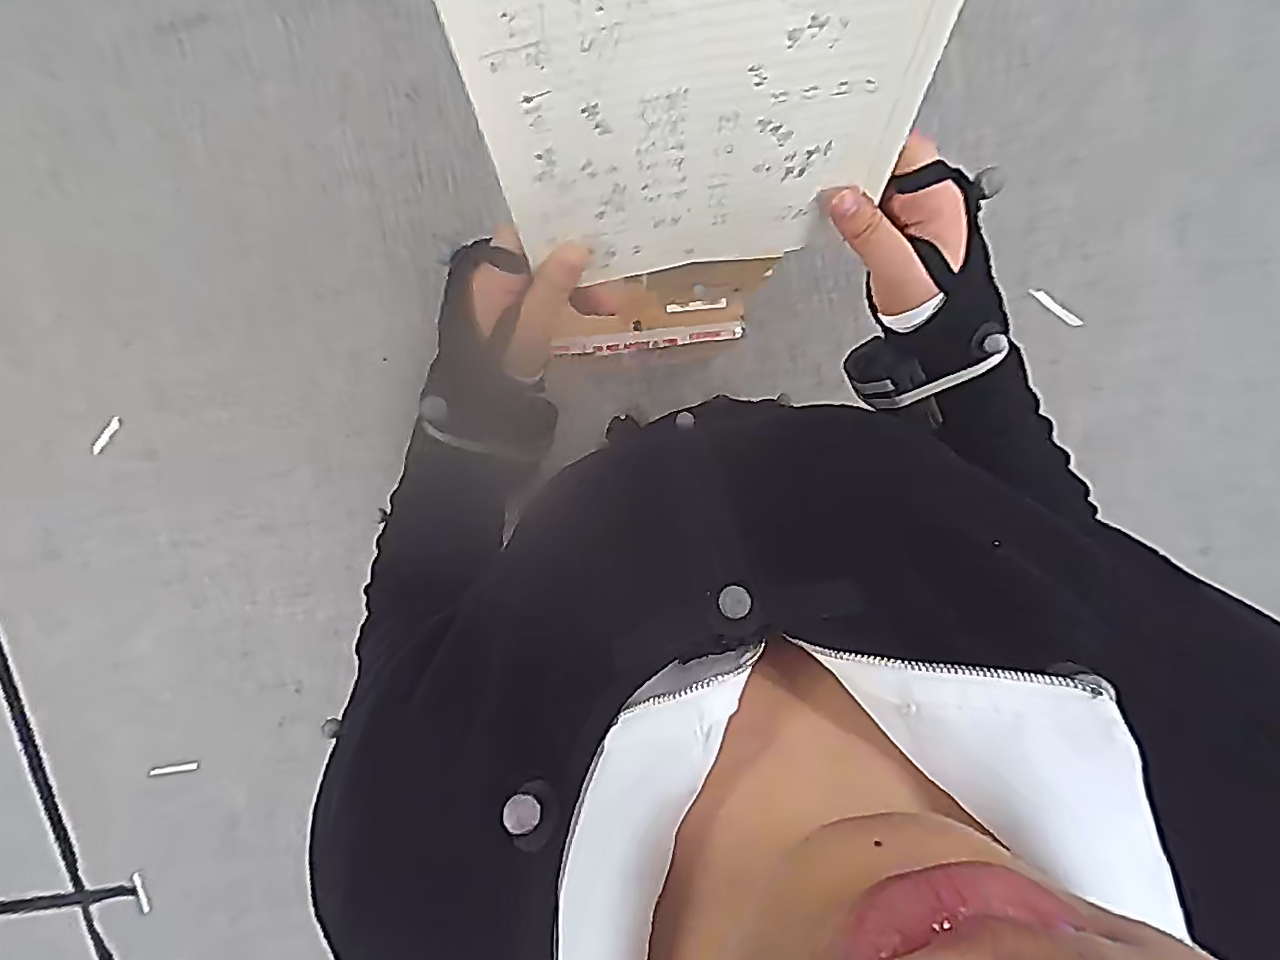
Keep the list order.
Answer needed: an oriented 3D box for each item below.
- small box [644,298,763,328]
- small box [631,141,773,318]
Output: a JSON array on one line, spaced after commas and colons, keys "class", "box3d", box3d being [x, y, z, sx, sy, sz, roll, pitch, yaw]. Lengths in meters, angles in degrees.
[{"class": "small box", "box3d": [0.091, -0.353, 0.891, 0.179, 0.176, 0.168, -7, 98, 0]}, {"class": "small box", "box3d": [0.075, -0.324, 0.728, 0.168, 0.176, 0.179, -4, 99, -1]}]
